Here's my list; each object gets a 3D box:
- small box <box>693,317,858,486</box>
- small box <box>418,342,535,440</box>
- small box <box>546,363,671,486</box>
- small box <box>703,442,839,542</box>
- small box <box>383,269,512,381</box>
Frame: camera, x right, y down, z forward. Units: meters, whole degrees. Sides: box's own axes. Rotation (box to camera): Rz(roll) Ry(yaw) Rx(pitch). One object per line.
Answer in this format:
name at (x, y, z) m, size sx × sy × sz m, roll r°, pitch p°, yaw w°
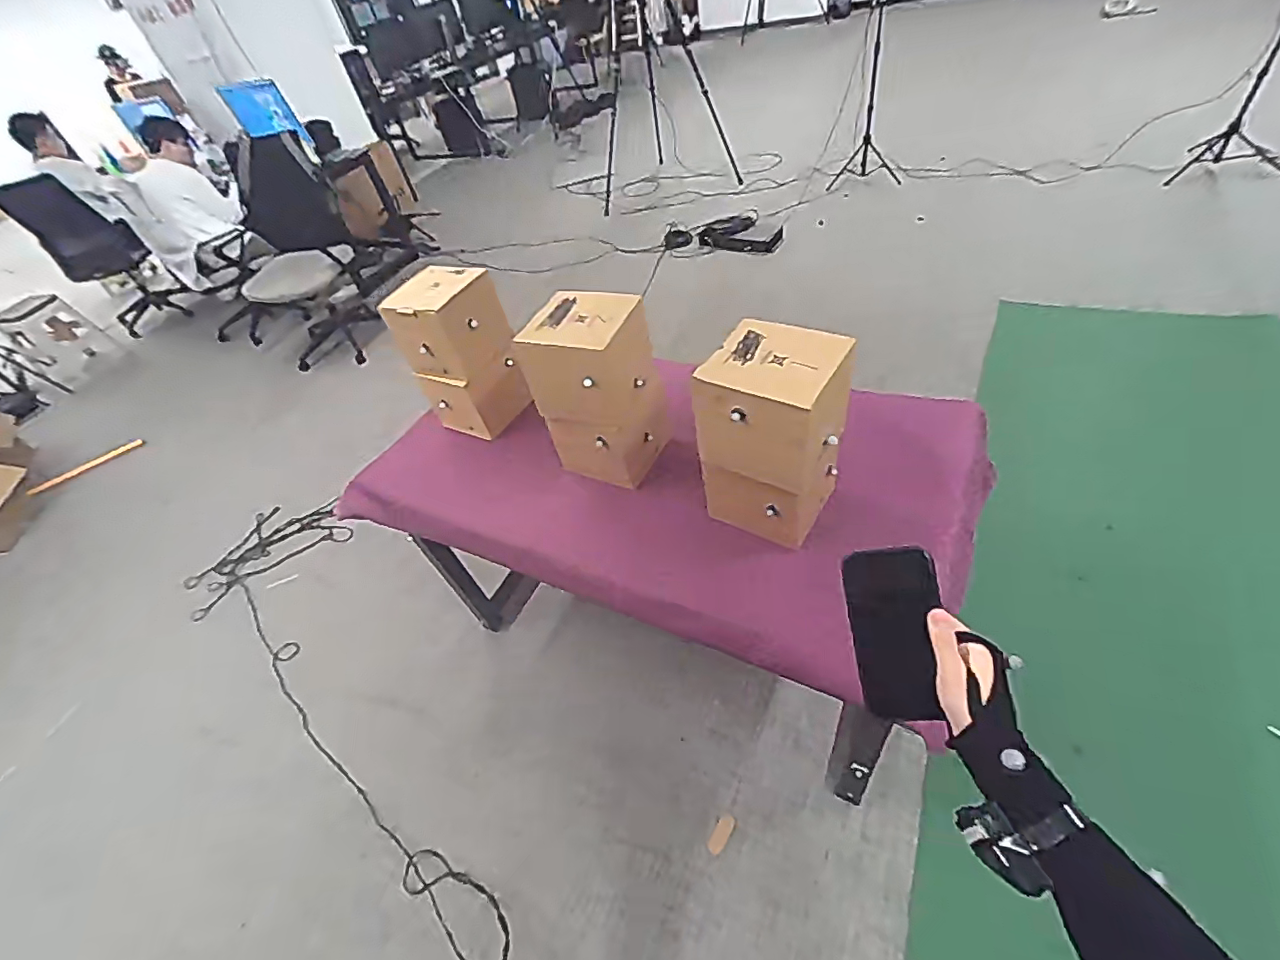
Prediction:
small box at (0.201, -0.116, 0.805) m, size 0.179 × 0.176 × 0.168 m, roll 21°, pitch 56°, yaw 30°
small box at (-0.378, -0.218, 1.285) m, size 0.168 × 0.176 × 0.179 m, roll 16°, pitch 53°, yaw 27°
small box at (-0.054, -0.111, 1.095) m, size 0.179 × 0.176 × 0.168 m, roll 16°, pitch 53°, yaw 27°
small box at (0.232, -0.018, 0.933) m, size 0.179 × 0.176 × 0.168 m, roll 21°, pitch 55°, yaw 31°
small box at (-0.405, -0.336, 1.173) m, size 0.168 × 0.176 × 0.179 m, roll 12°, pitch 52°, yaw 24°
